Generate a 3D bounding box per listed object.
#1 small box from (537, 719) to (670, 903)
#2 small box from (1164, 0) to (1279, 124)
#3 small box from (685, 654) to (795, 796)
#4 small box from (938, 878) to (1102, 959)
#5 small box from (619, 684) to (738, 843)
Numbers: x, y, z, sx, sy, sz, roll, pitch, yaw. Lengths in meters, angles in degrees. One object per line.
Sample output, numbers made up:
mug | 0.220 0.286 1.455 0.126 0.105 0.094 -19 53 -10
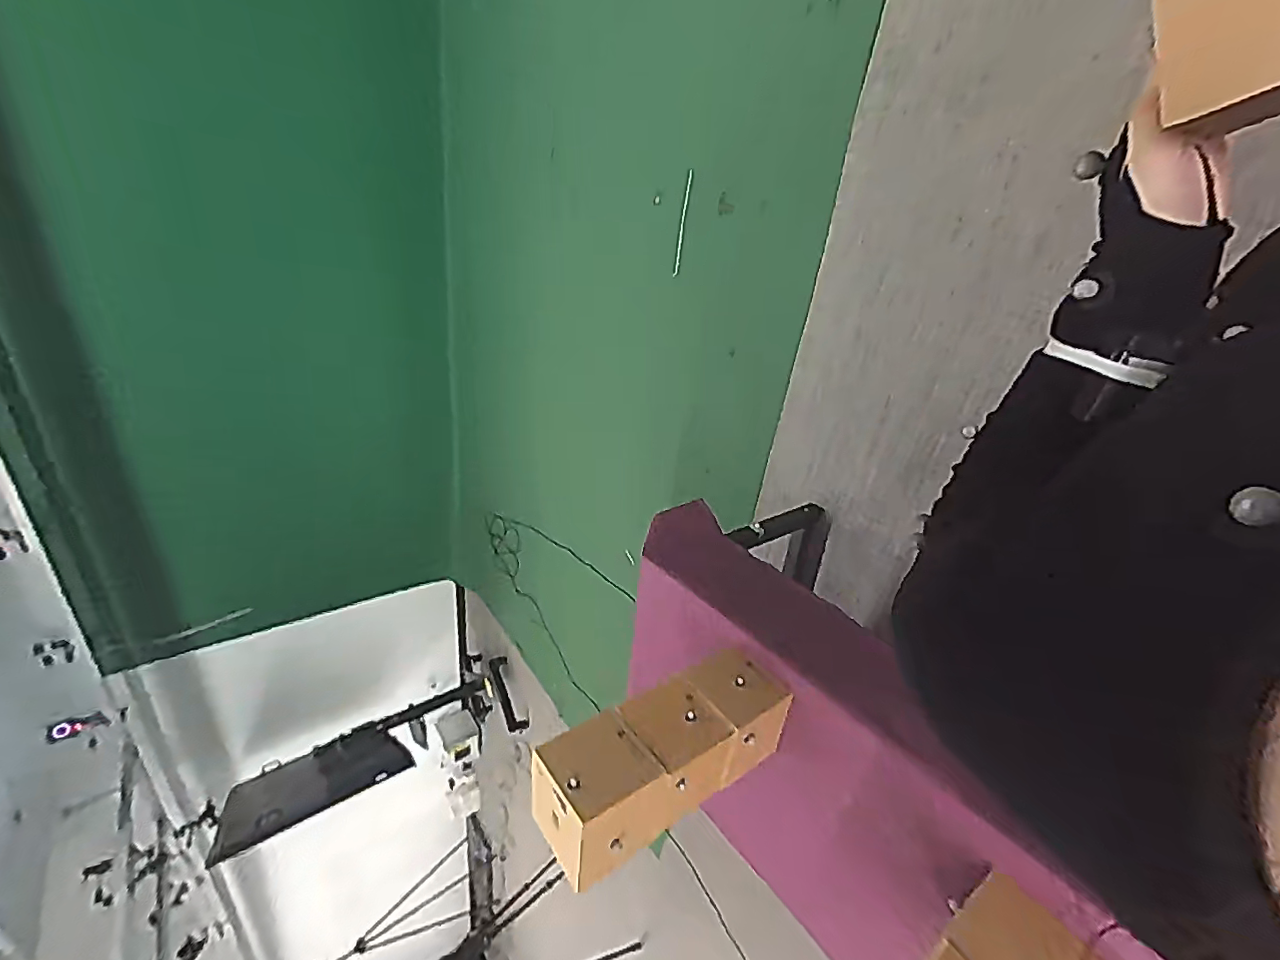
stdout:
small box | -0.064 0.560 0.937 0.168 0.176 0.179 29 123 45
small box | 0.349 -0.279 0.223 0.179 0.176 0.168 -1 108 54
small box | 0.197 0.497 1.124 0.168 0.176 0.179 34 126 44
small box | 0.530 0.716 0.749 0.179 0.176 0.168 37 128 43
small box | 0.065 0.532 1.035 0.168 0.176 0.179 33 125 43
